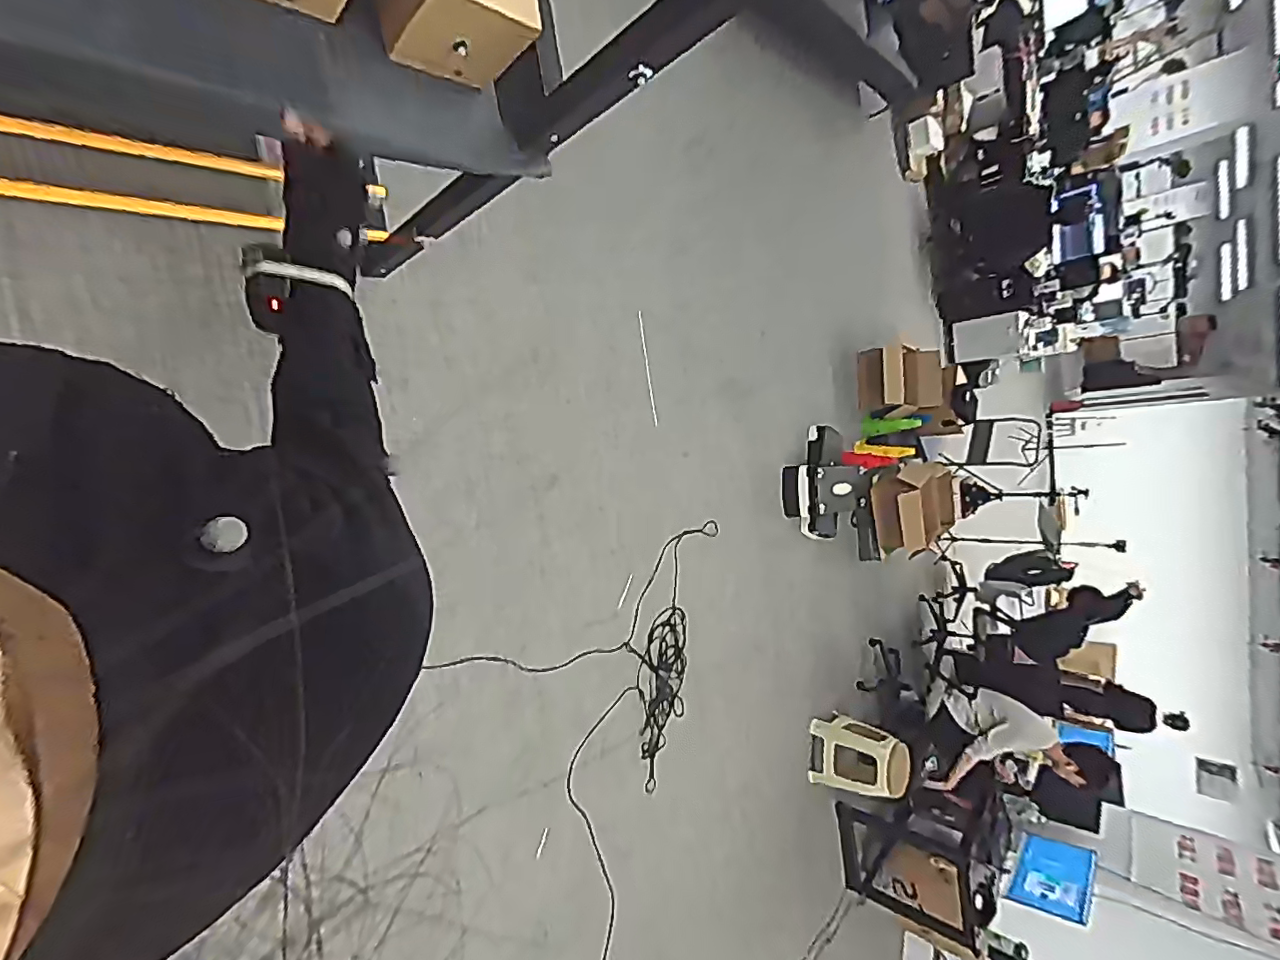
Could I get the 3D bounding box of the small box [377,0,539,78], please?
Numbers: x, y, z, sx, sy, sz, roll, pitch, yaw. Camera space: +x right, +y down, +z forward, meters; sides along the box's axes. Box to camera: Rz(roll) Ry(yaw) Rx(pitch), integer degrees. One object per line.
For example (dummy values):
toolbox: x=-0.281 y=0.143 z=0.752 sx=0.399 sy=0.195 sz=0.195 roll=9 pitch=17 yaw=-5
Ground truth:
small box: x=-0.273 y=-0.734 z=0.781 sx=0.168 sy=0.176 sz=0.179 roll=-18 pitch=101 yaw=-45
